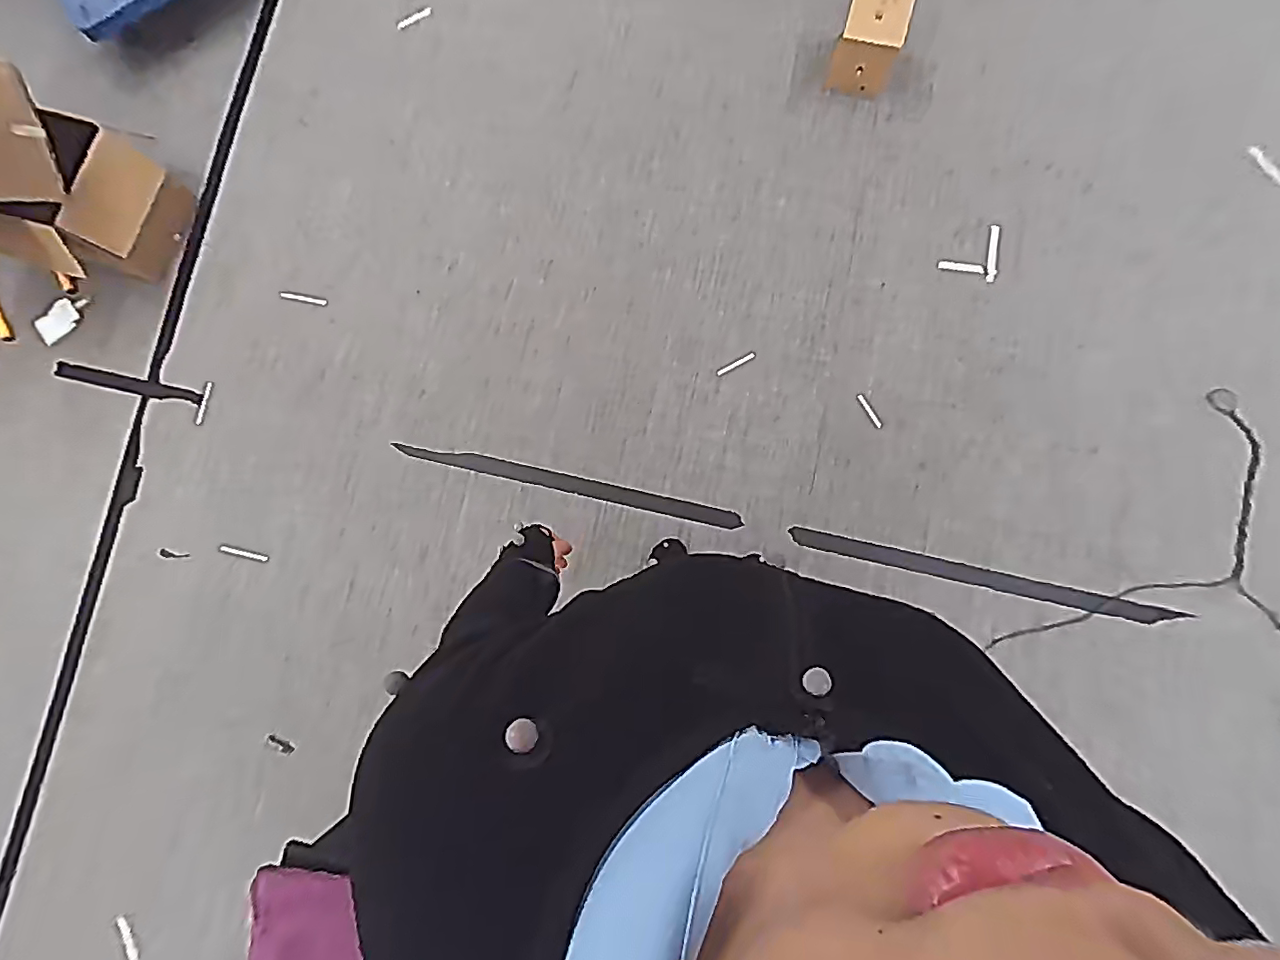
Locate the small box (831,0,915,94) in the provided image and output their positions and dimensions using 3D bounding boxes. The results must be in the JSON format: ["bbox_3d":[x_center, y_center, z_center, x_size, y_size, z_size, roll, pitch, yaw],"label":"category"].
[{"bbox_3d":[0.667,-1.269,1.564,0.168,0.176,0.179,15,84,6],"label":"small box"}]
